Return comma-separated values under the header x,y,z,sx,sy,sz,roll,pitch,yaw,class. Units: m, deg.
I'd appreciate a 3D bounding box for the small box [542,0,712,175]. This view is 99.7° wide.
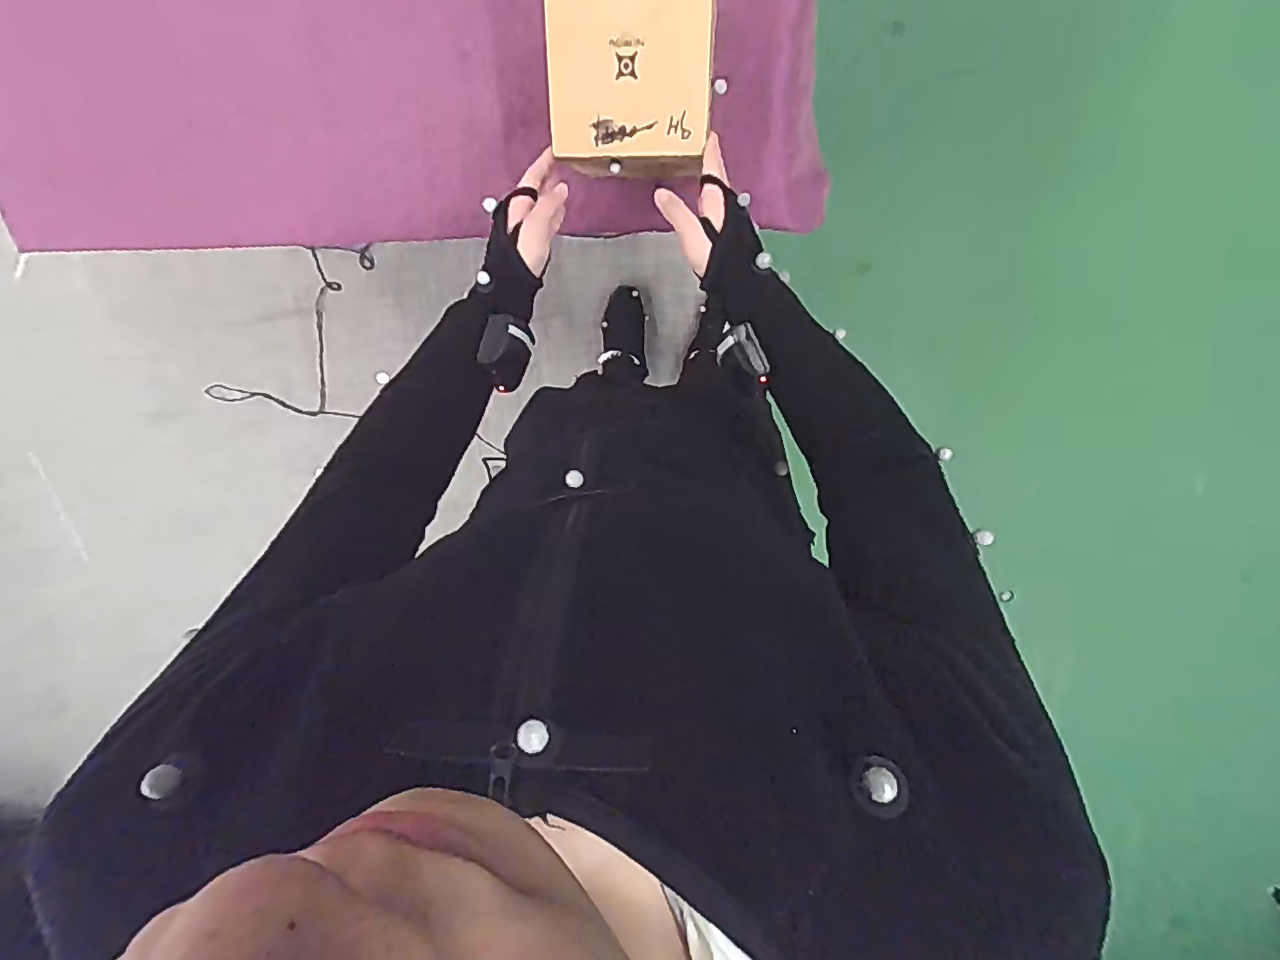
x,y,z,sx,sy,sz,roll,pitch,yaw,class
-0.007,-0.457,0.617,0.168,0.176,0.179,4,116,8,small box
